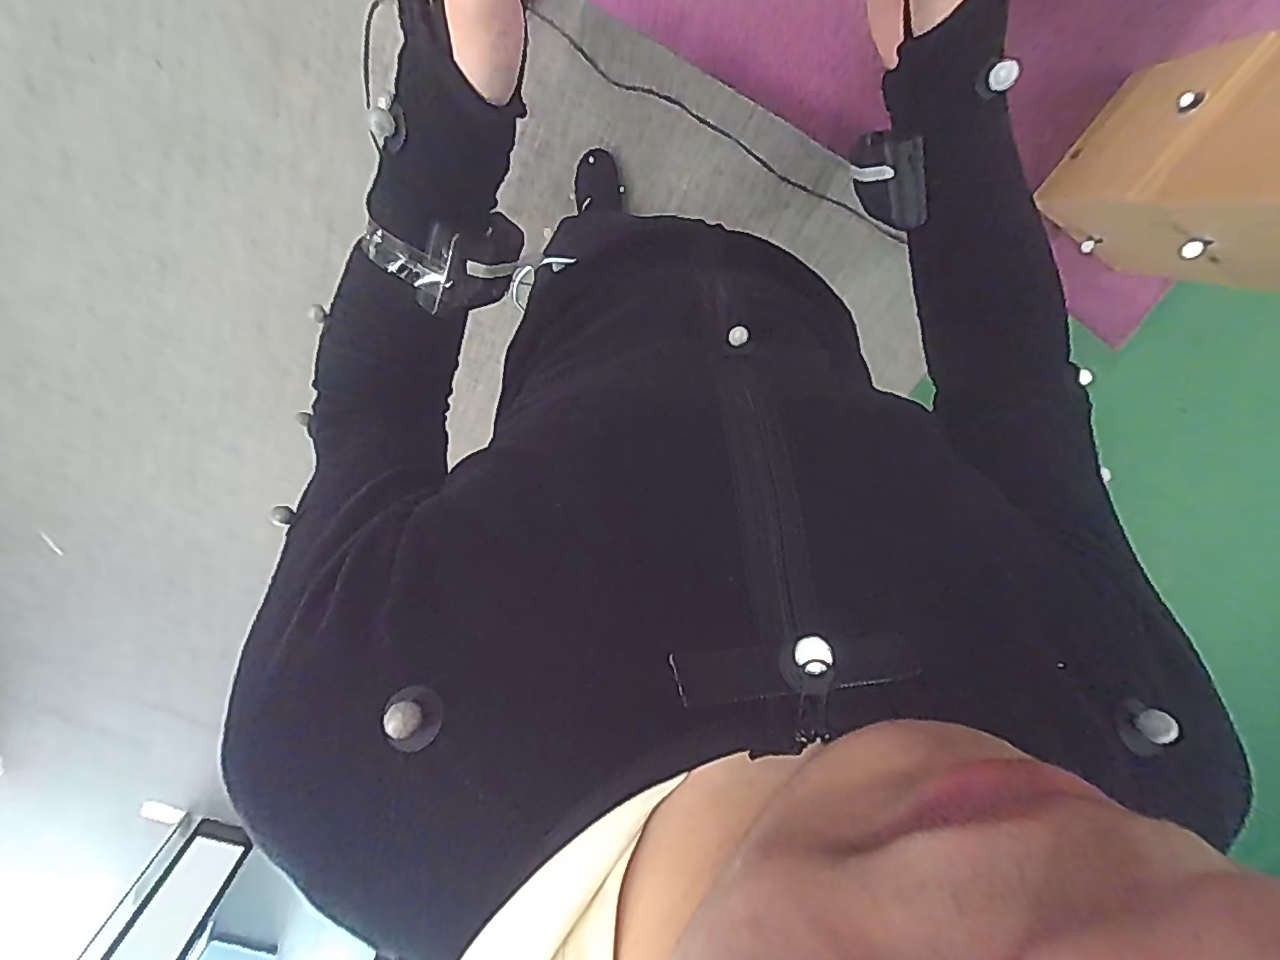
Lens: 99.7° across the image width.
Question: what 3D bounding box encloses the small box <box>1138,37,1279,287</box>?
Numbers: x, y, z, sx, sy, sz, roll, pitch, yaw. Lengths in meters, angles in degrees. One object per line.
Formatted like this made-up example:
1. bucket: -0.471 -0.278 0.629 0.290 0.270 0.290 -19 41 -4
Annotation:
1. small box: 0.627 -0.290 0.484 0.168 0.176 0.179 29 114 -11

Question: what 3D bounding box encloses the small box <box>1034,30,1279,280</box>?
1. small box: 0.627 -0.363 0.630 0.179 0.176 0.168 28 114 -13
